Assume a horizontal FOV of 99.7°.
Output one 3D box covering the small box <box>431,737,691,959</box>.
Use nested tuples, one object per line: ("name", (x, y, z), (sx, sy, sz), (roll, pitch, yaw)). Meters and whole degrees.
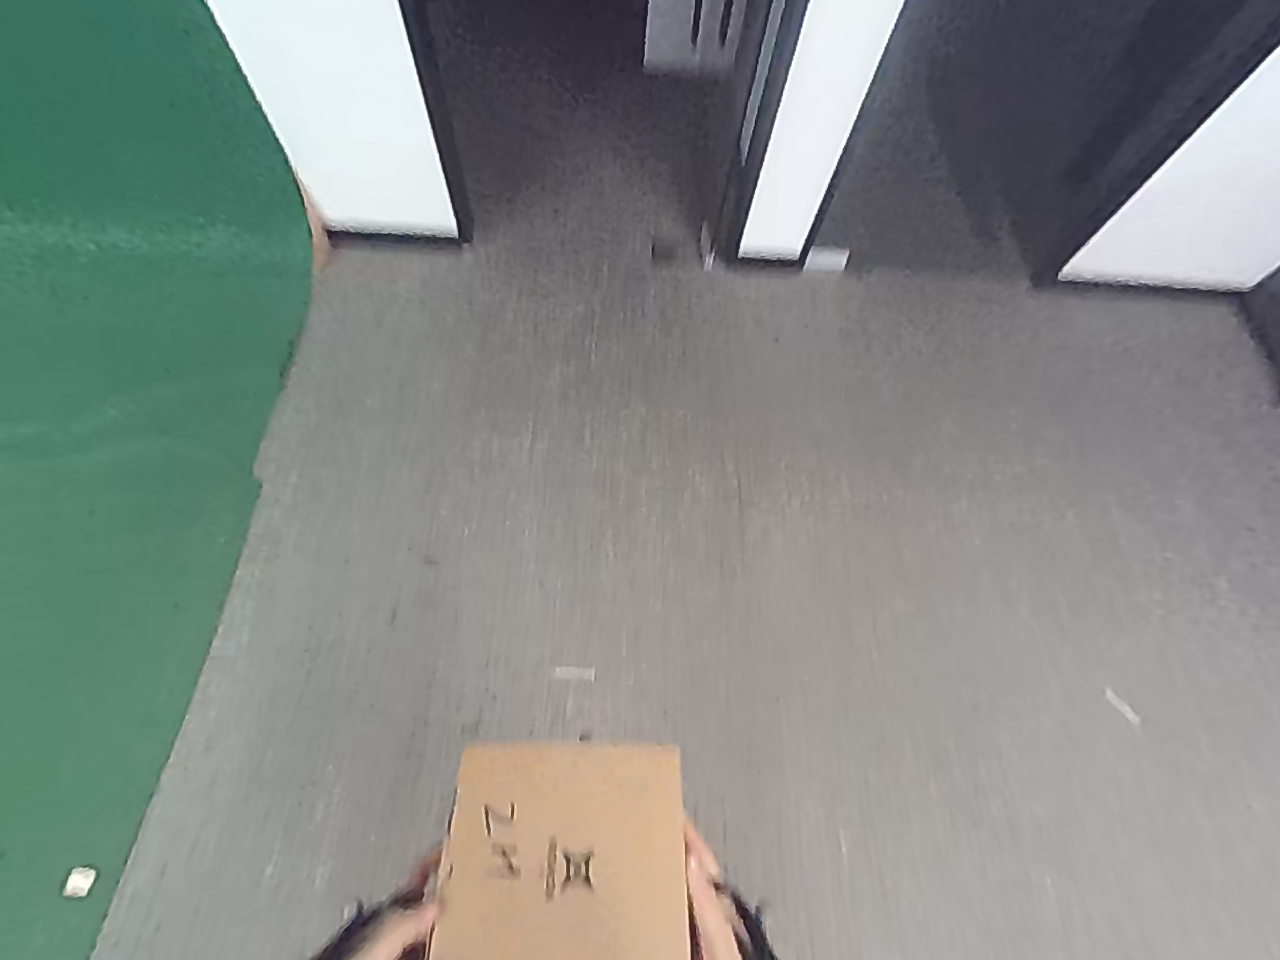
("small box", (-0.060, 0.325, 0.456), (0.179, 0.176, 0.168), (3, 52, -5))
